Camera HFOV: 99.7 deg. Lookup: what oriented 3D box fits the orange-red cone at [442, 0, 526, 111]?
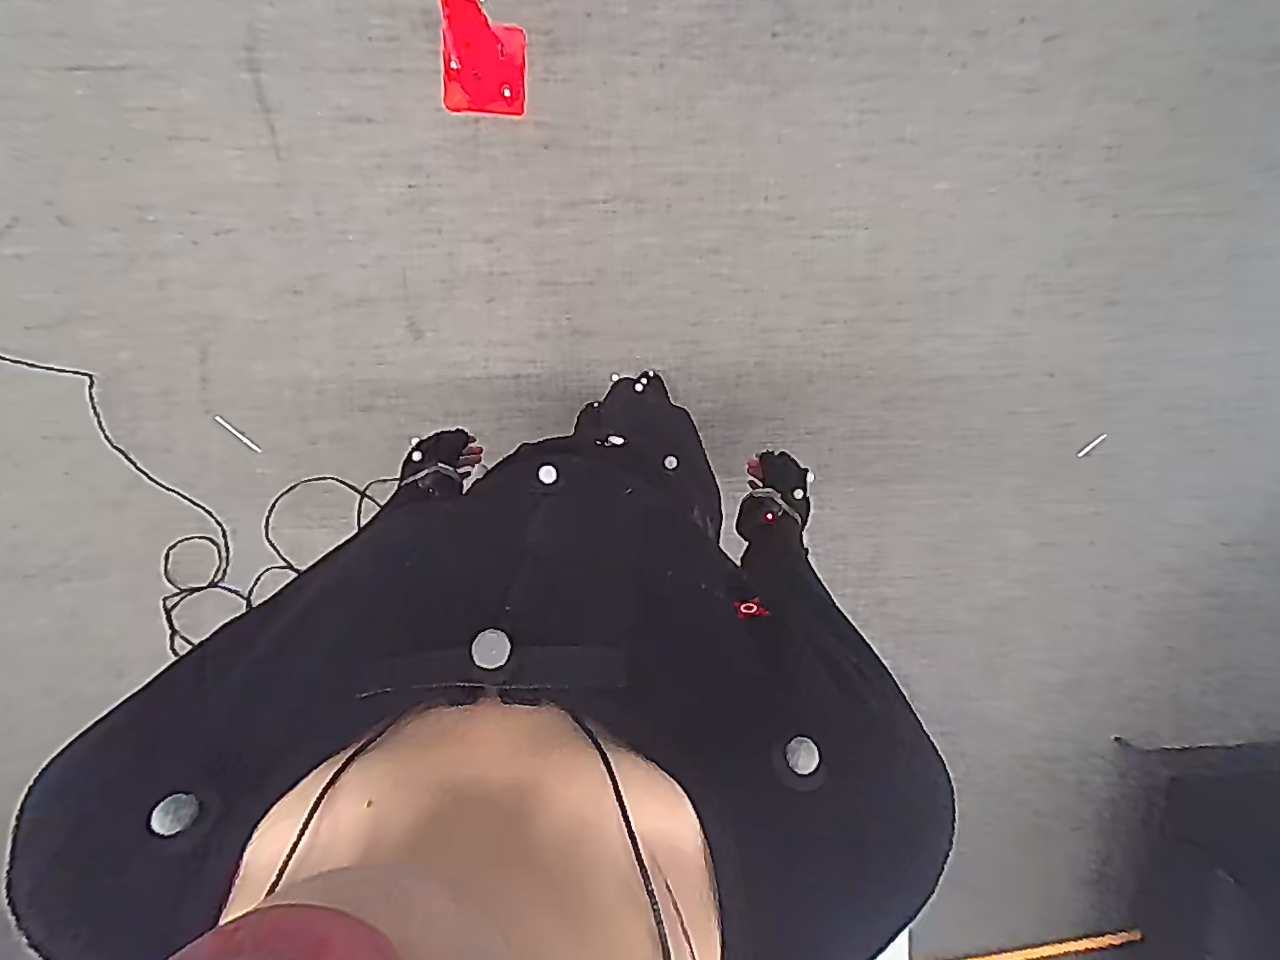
[{"bbox_3d":[-0.366,-0.980,1.137,0.198,0.360,0.199,3,99,-4],"label":"orange-red cone"}]
